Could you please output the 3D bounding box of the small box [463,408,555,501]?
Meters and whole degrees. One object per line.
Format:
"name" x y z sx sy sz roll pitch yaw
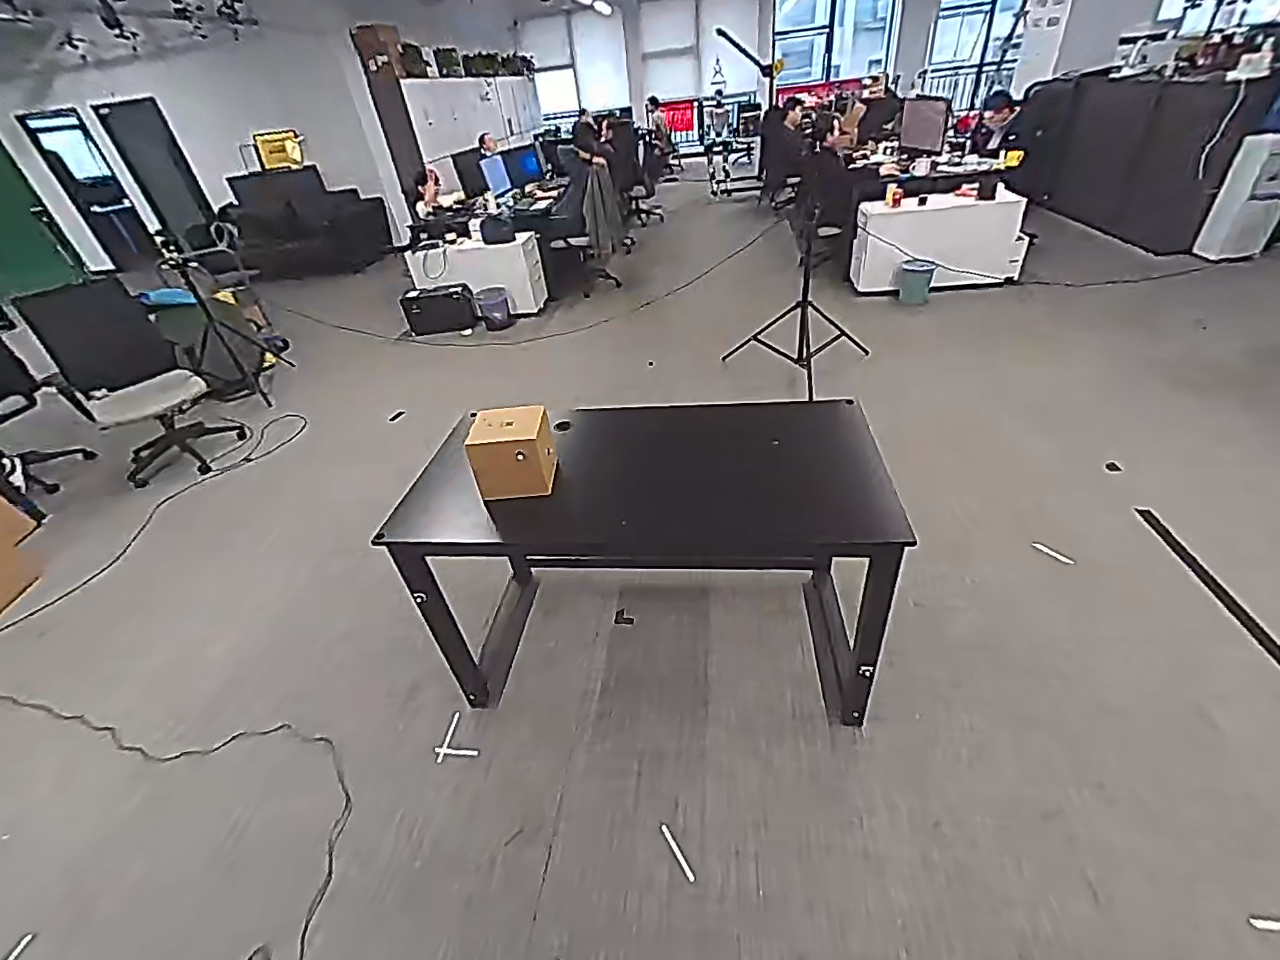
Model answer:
"small box" -0.321 -0.064 1.371 0.179 0.176 0.168 -5 36 3
